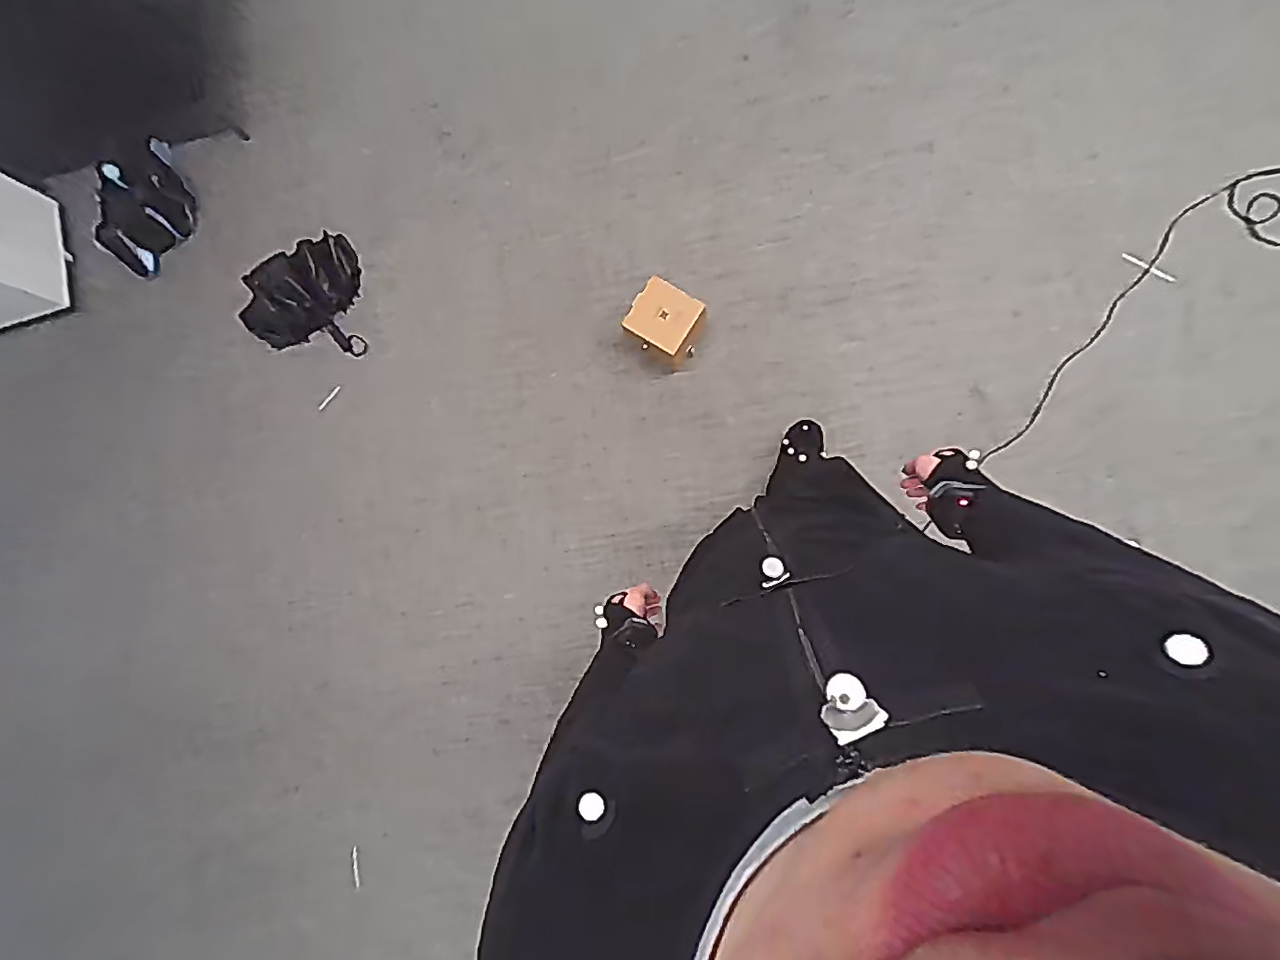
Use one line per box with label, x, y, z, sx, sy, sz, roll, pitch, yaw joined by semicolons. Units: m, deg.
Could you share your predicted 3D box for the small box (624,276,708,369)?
small box;0.080;-0.443;1.553;0.179;0.176;0.168;32;91;9
